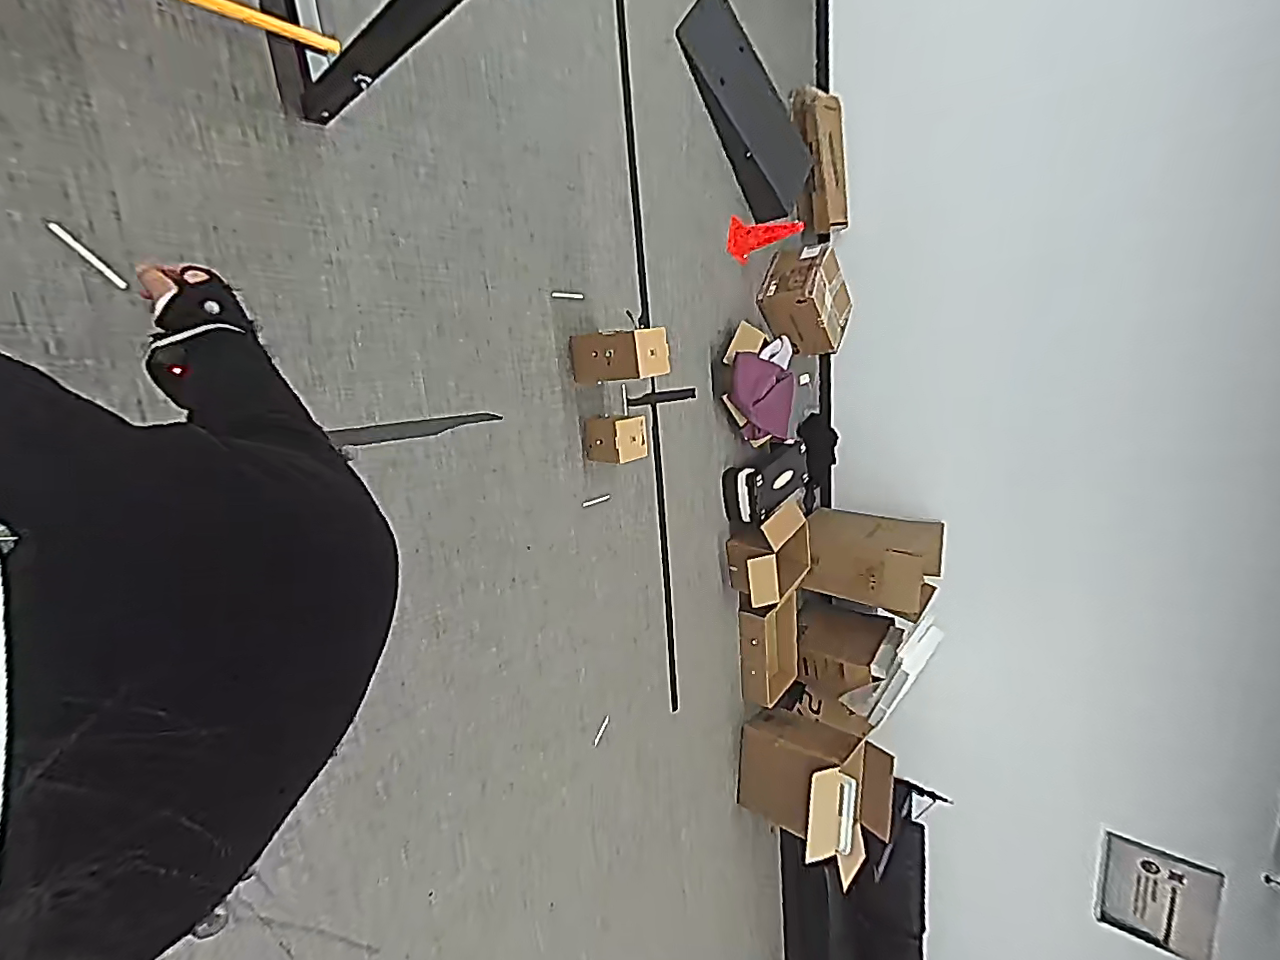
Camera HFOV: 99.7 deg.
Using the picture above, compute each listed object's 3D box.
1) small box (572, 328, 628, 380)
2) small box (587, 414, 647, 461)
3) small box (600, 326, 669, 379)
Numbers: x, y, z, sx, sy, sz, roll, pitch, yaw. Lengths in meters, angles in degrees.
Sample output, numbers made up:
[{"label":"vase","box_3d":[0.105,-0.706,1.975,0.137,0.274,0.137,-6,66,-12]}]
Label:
[{"label":"small box","box_3d":[-0.142,-0.474,2.043,0.168,0.176,0.179,-21,111,-47]},{"label":"small box","box_3d":[-0.097,-0.171,2.139,0.179,0.176,0.168,-18,108,-47]},{"label":"small box","box_3d":[-0.020,-0.456,1.938,0.179,0.176,0.168,-23,110,-45]}]
